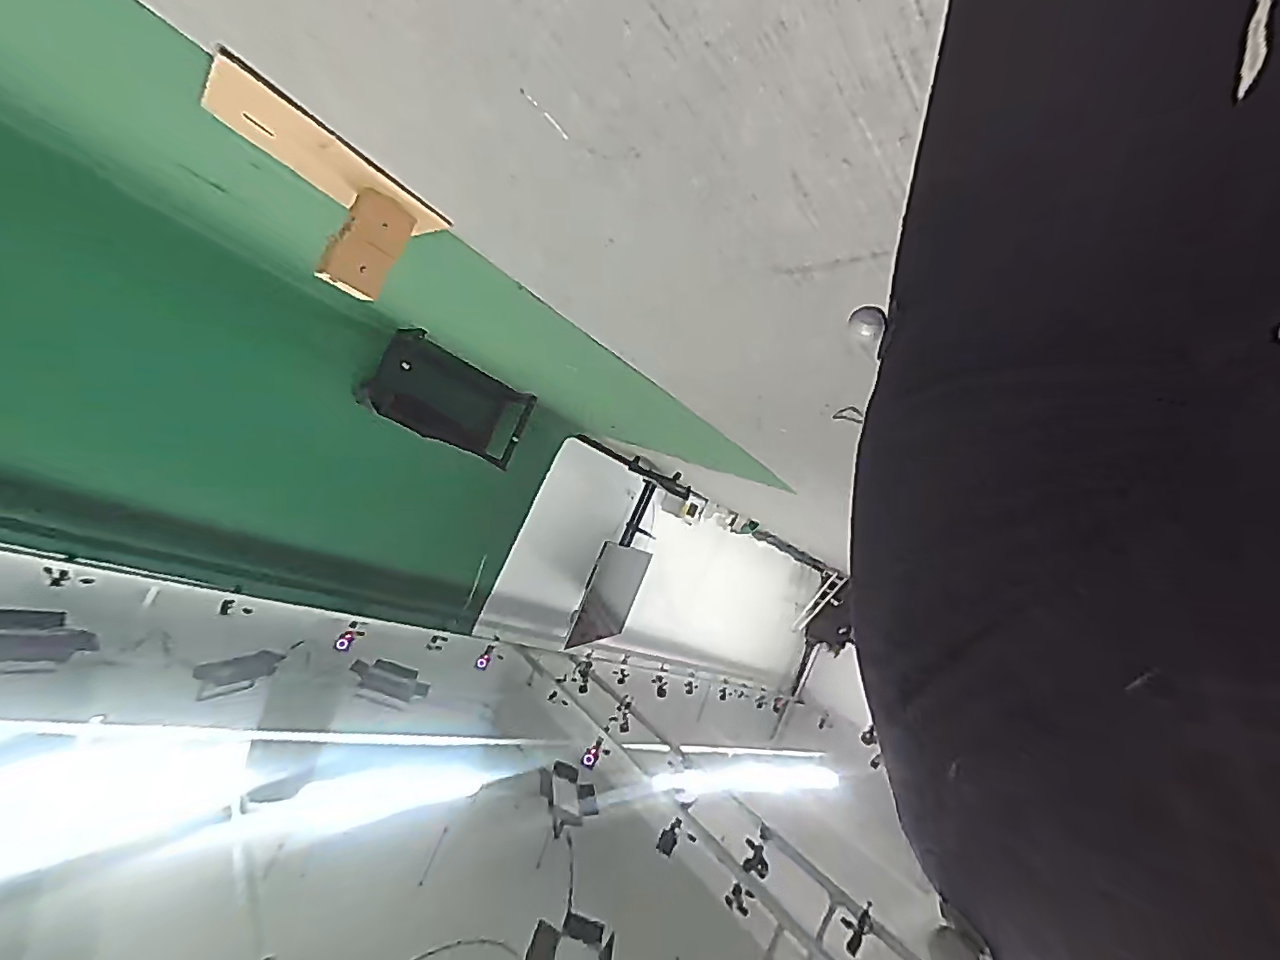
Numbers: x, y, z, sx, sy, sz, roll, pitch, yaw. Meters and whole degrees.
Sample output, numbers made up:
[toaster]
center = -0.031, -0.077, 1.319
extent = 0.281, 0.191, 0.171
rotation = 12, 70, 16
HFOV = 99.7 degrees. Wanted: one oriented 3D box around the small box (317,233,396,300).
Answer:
[small box]
center = -1.018, -0.769, 1.945
extent = 0.168, 0.176, 0.179
rotation = 21, 177, 43
